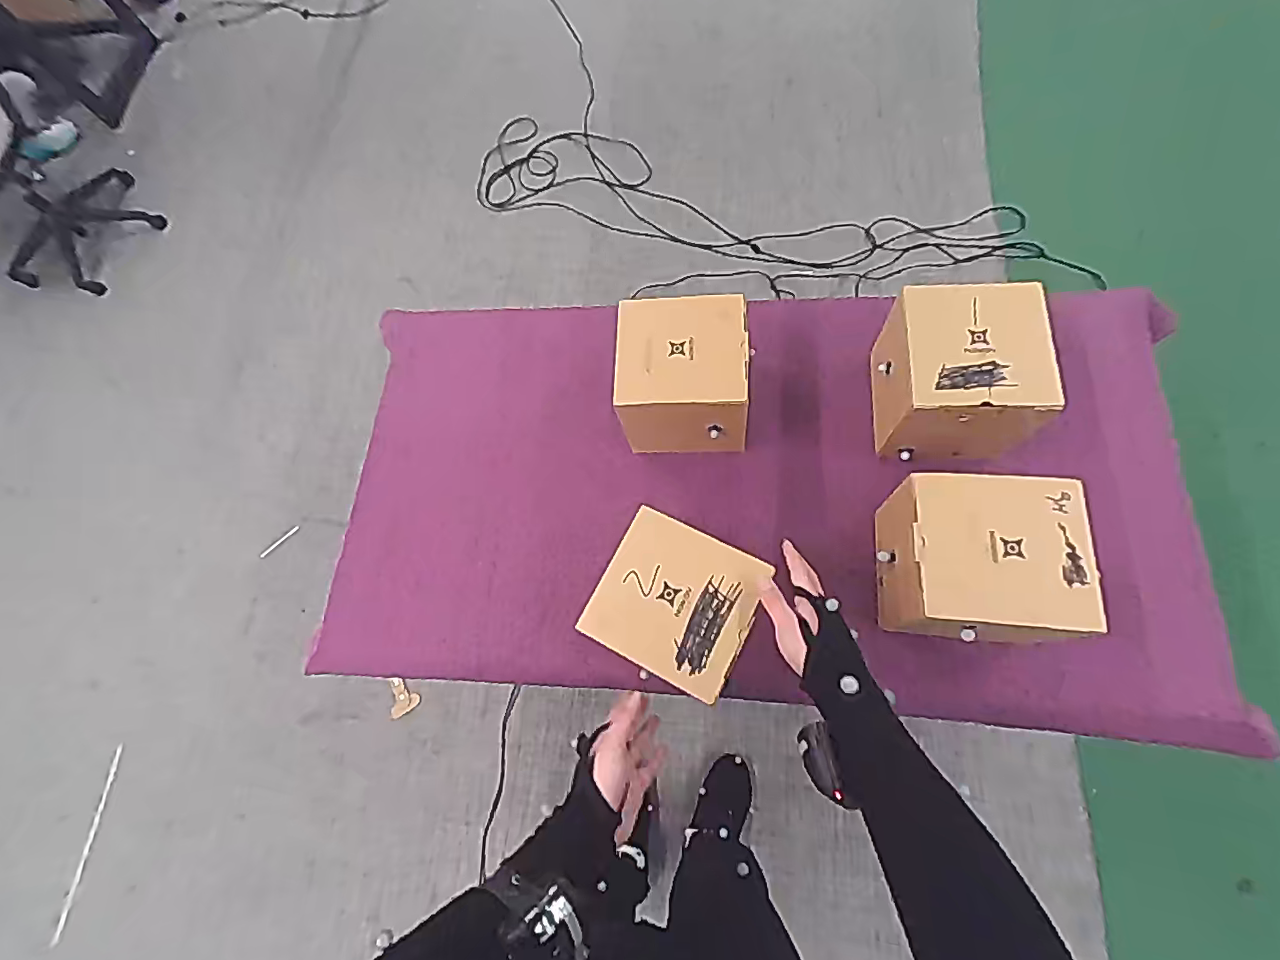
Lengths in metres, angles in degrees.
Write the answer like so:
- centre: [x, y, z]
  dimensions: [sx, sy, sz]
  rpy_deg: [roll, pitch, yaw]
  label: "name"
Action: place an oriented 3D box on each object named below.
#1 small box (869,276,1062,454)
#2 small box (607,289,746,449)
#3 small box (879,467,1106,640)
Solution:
- centre: [0.413, -0.144, 0.720]
  dimensions: [0.168, 0.176, 0.179]
  rpy_deg: [2, 70, 9]
  label: "small box"
- centre: [0.059, -0.151, 0.780]
  dimensions: [0.179, 0.176, 0.168]
  rpy_deg: [0, 71, 9]
  label: "small box"
- centre: [0.391, 0.093, 0.641]
  dimensions: [0.179, 0.176, 0.168]
  rpy_deg: [3, 71, 11]
  label: "small box"
